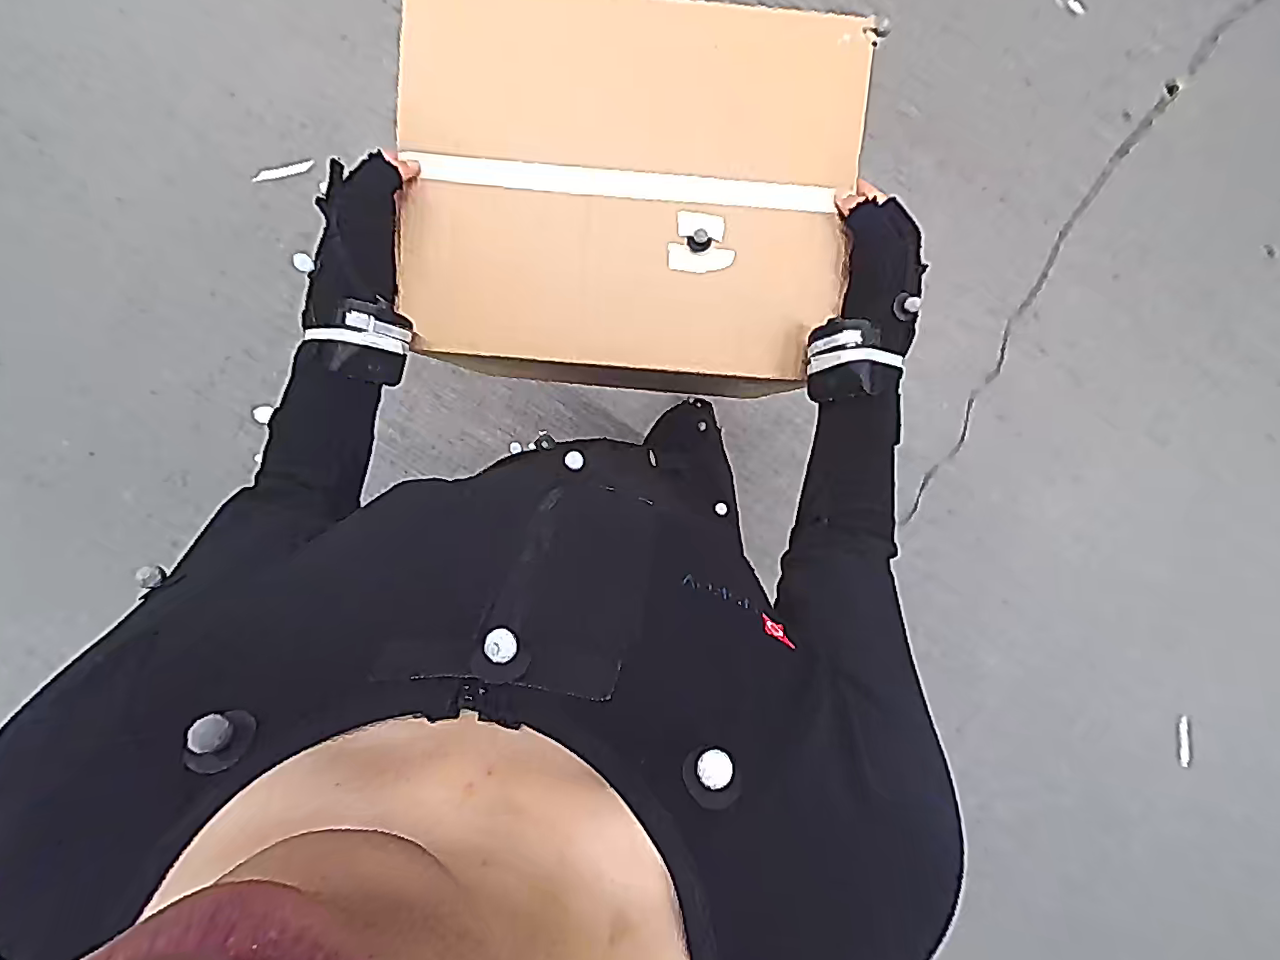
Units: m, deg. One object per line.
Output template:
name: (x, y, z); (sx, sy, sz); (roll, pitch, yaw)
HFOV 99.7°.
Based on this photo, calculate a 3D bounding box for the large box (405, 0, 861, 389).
large box: (-0.015, -0.280, 0.632); (0.408, 0.320, 0.320); (3, 96, -2)

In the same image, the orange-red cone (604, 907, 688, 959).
orange-red cone: (0.019, 1.385, 1.423); (0.198, 0.360, 0.199); (30, 93, -3)
